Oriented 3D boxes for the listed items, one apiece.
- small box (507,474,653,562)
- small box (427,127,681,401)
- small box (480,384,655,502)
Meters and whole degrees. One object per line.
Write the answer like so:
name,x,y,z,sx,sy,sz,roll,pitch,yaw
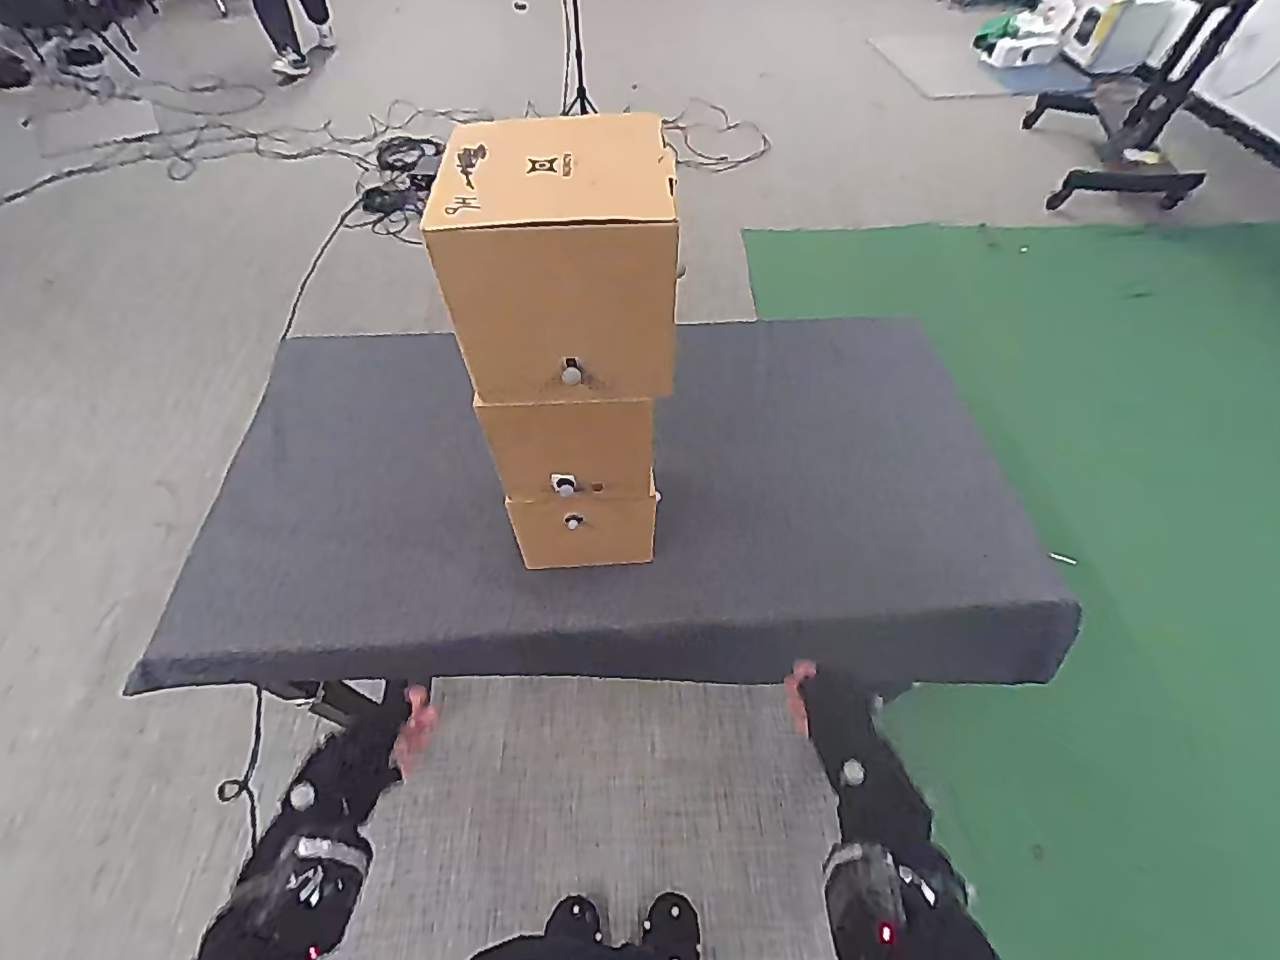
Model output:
small box,-0.075,0.003,0.745,0.179,0.176,0.168,-3,54,-3
small box,-0.063,-0.185,0.480,0.179,0.176,0.168,-2,54,-2
small box,-0.072,-0.094,0.616,0.168,0.176,0.179,-3,55,-1
